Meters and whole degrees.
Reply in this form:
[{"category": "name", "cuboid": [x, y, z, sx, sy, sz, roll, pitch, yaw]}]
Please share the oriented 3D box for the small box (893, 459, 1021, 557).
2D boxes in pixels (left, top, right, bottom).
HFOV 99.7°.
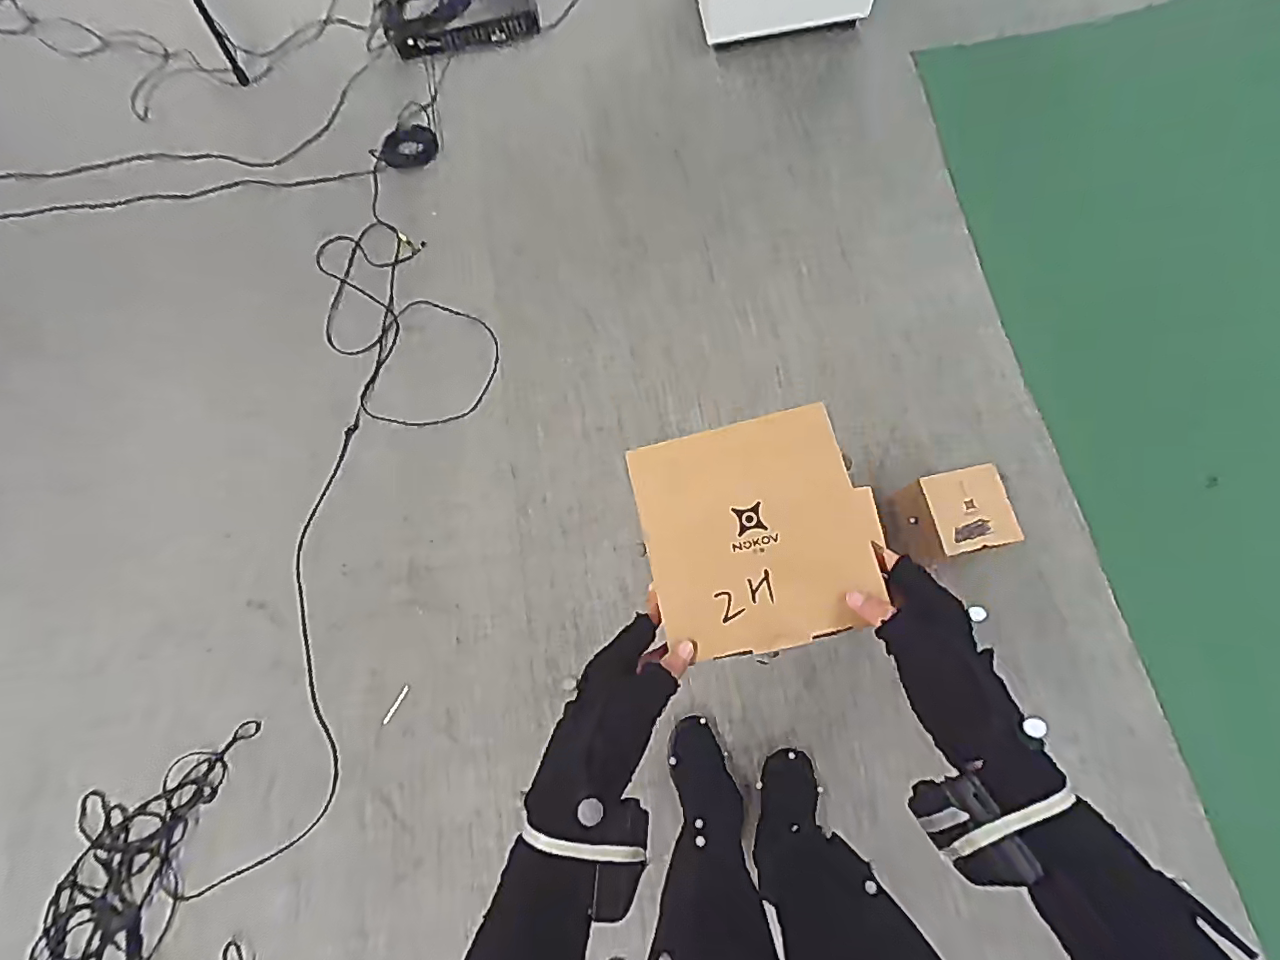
[{"category": "small box", "cuboid": [0.695, 0.071, 1.208, 0.168, 0.176, 0.179, -12, 73, 2]}]
